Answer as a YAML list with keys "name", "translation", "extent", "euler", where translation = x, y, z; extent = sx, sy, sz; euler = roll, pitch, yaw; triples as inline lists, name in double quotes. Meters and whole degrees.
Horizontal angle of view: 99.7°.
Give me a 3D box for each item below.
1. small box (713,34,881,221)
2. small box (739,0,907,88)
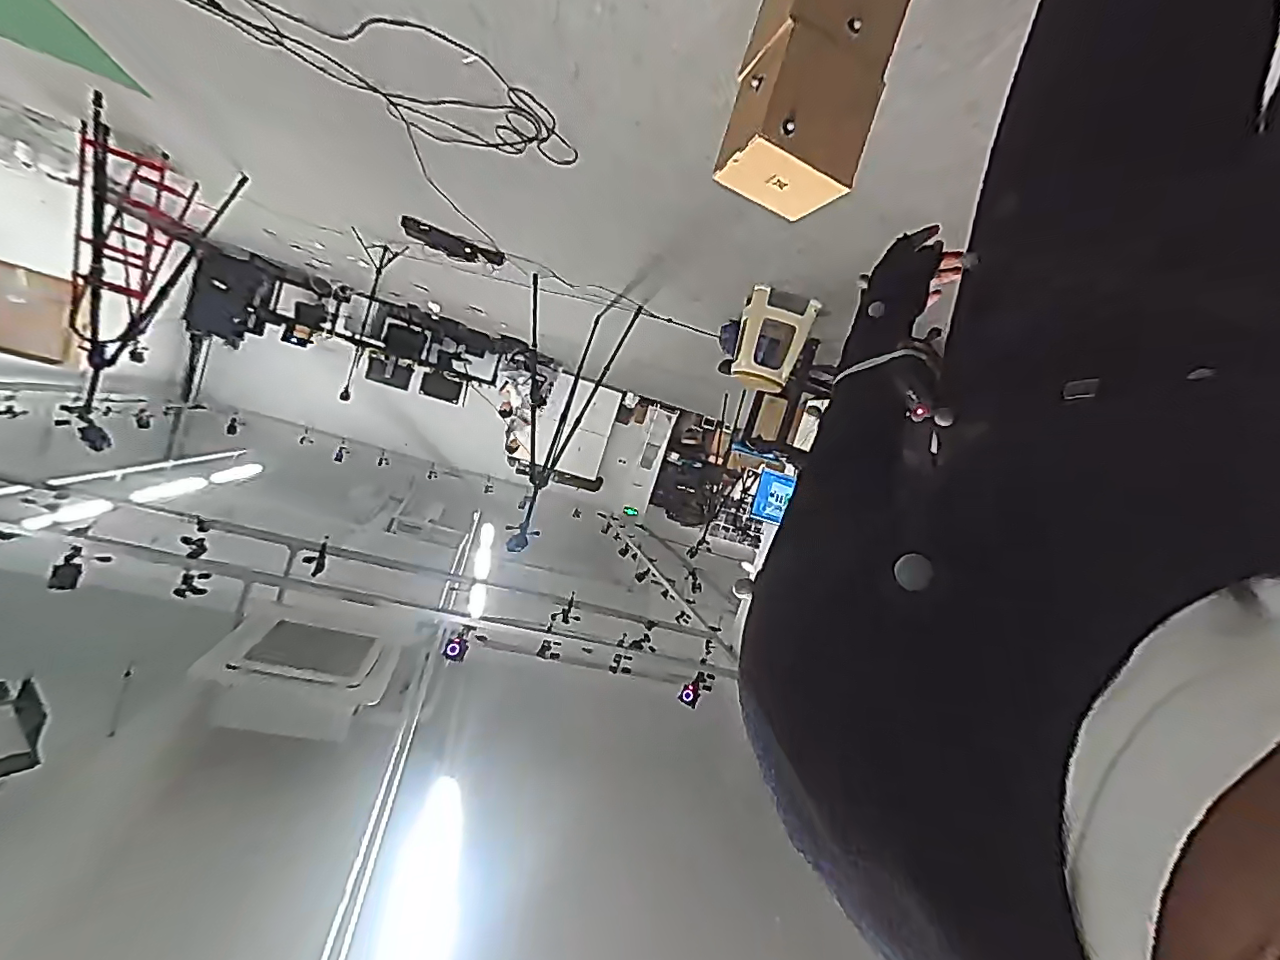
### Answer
- name: "small box"
  translation: [0.251, -0.558, 0.875]
  extent: [0.179, 0.176, 0.168]
  euler: [17, -176, -19]
- name: "small box"
  translation: [0.293, -0.715, 0.863]
  extent: [0.179, 0.176, 0.168]
  euler: [17, -177, -19]
